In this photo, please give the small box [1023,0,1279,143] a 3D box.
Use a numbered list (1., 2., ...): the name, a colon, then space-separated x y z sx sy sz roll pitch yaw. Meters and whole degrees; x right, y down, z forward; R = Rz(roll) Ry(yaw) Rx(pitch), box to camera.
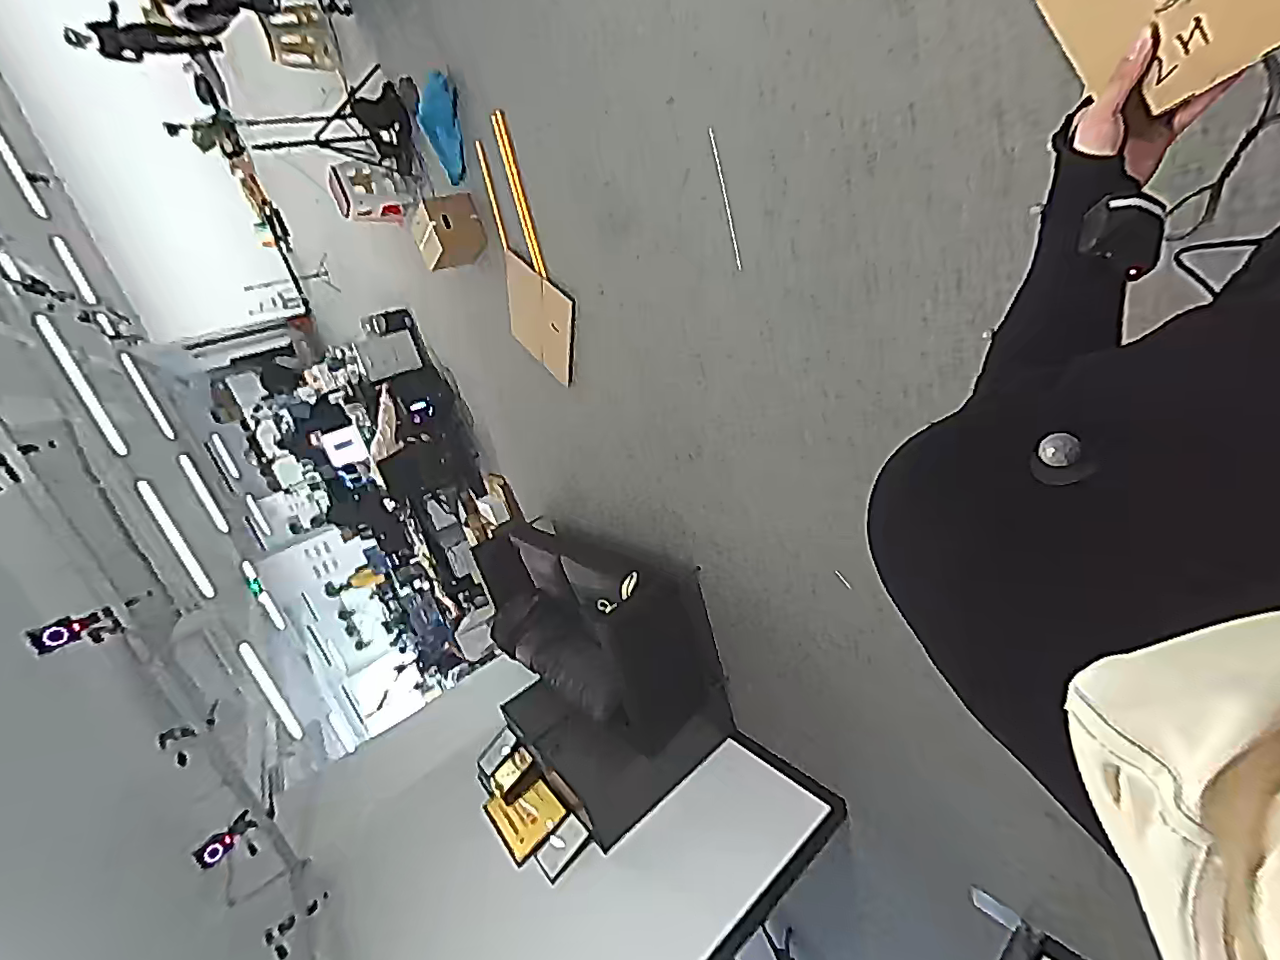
1. small box: 0.473 -0.437 0.440 0.179 0.176 0.168 50 171 -9
